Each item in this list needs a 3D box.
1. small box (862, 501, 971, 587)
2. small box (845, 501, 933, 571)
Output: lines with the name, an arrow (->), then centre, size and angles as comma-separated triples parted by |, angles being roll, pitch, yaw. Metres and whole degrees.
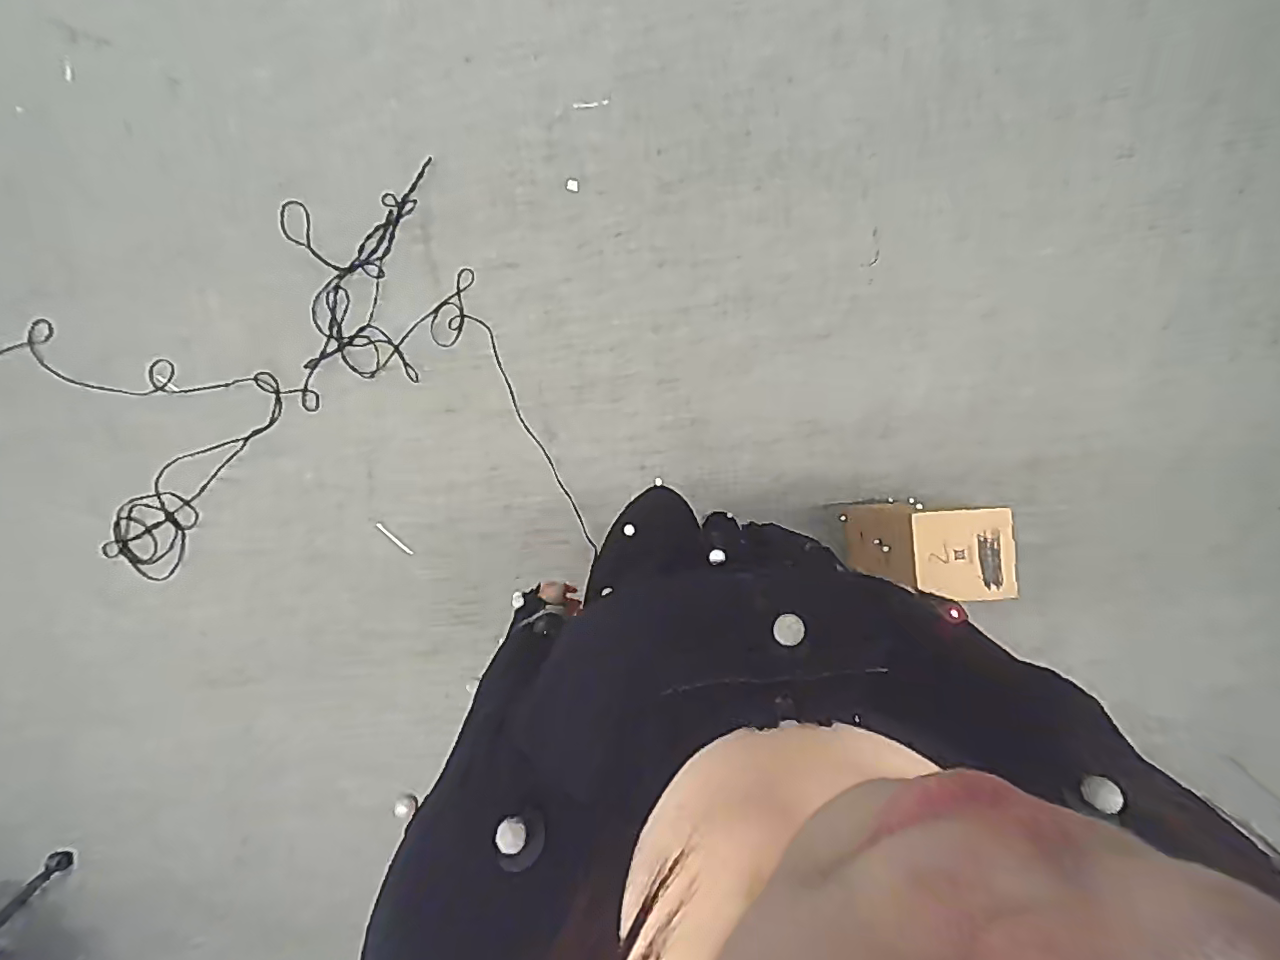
small box -> 0.612, 0.139, 1.217 | 0.168, 0.176, 0.179 | -4, 89, 6
small box -> 0.633, 0.140, 1.380 | 0.179, 0.176, 0.168 | -4, 89, 4
